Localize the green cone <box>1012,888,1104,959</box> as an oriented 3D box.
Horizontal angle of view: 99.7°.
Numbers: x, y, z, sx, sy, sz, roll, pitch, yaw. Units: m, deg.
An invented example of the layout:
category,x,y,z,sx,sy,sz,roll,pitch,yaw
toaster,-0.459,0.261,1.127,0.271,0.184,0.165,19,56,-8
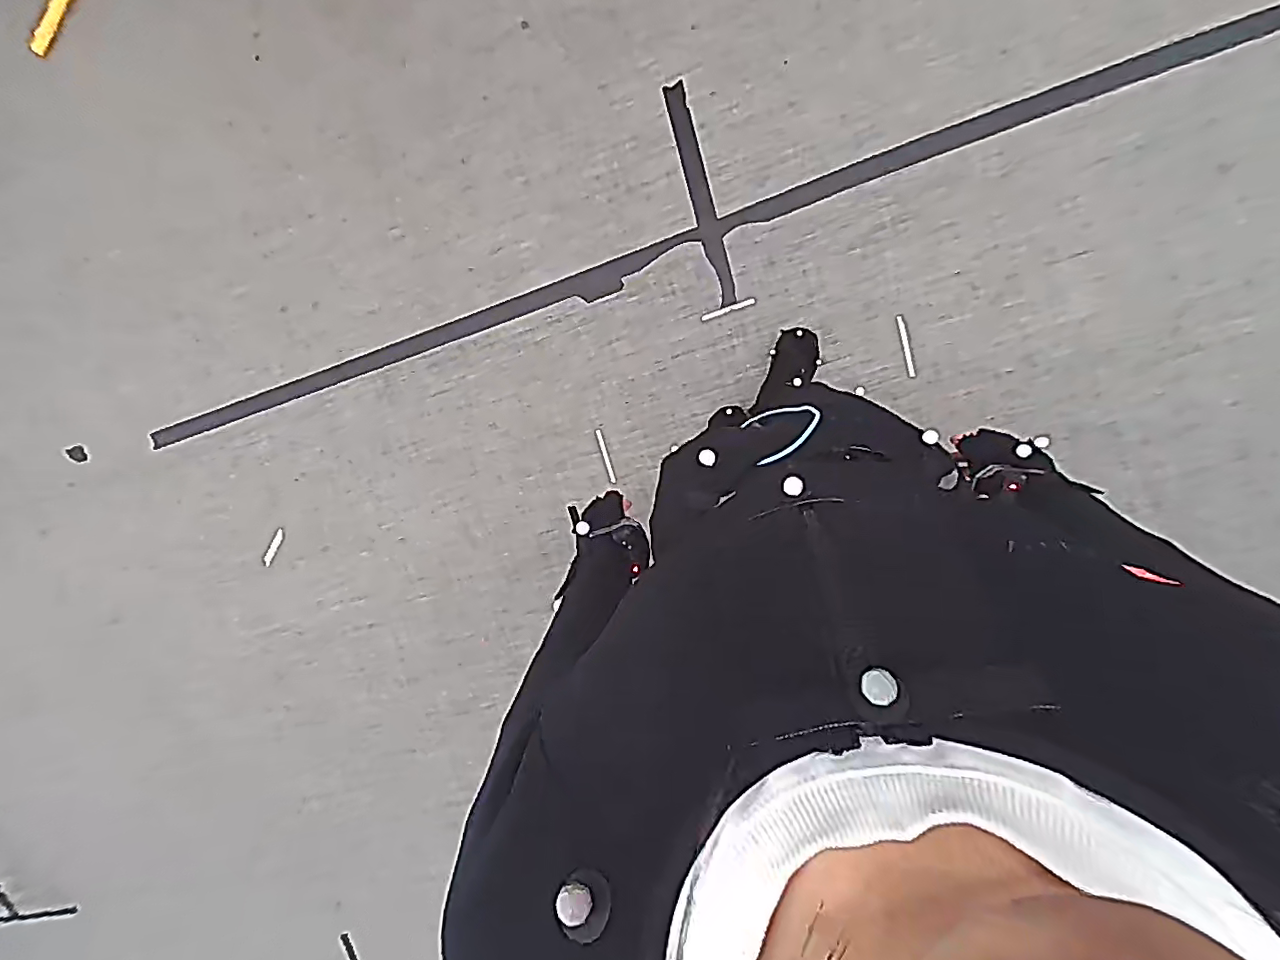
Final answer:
category,x,y,z,sx,sy,sz,roll,pitch,yaw
green cone,1.155,1.283,1.363,0.202,0.368,0.200,-15,98,9
